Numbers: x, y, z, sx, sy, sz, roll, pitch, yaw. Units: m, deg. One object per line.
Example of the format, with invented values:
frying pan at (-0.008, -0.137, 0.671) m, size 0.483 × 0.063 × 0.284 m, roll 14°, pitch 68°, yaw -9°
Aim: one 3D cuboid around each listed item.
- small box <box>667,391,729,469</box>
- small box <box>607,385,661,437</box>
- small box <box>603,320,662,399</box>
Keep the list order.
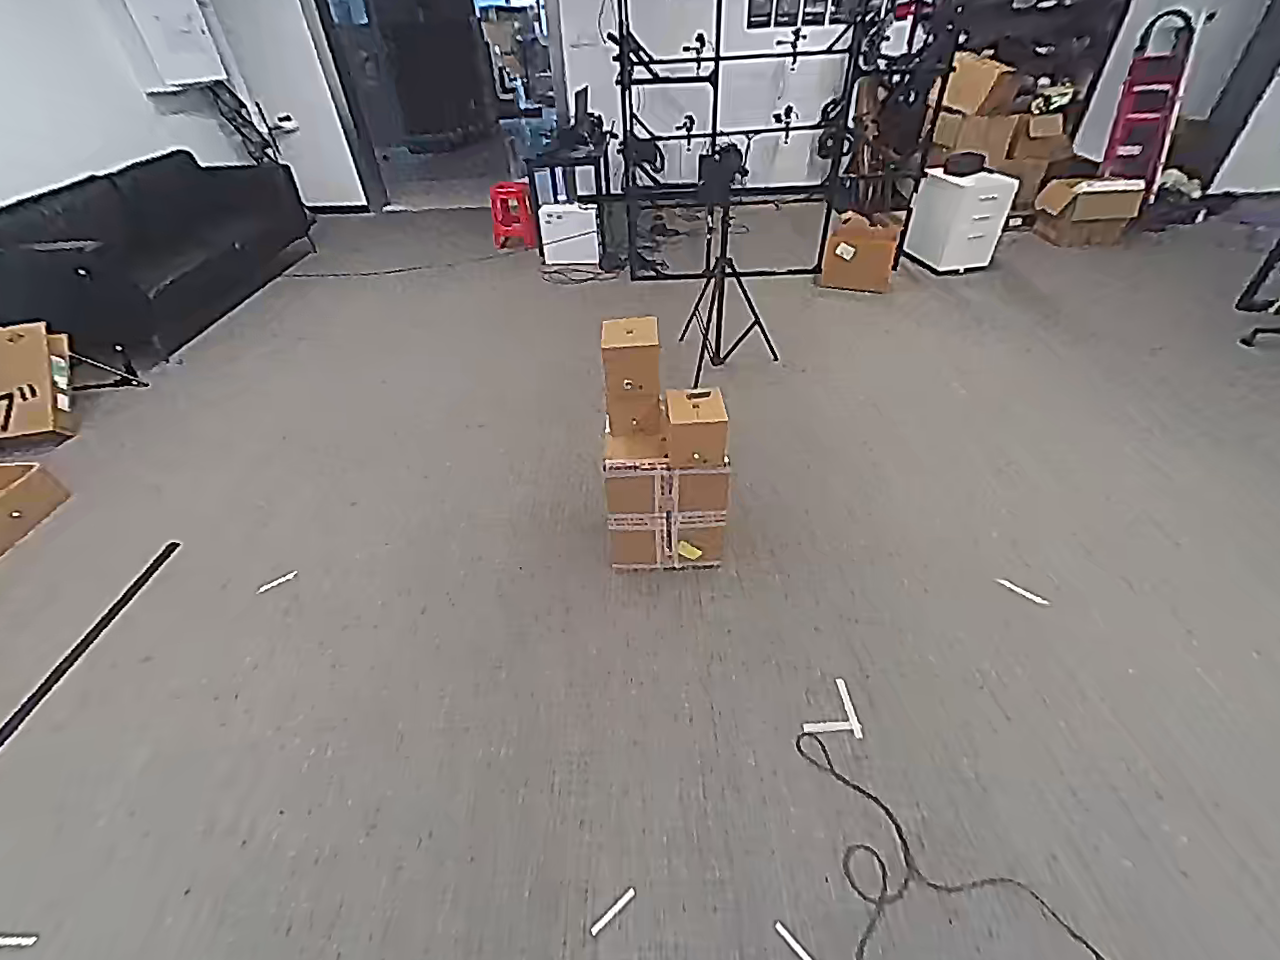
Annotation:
small box at (0.168, -0.151, 1.631) m, size 0.168 × 0.176 × 0.179 m, roll -3°, pitch 43°, yaw 0°
small box at (-0.018, -0.258, 1.763) m, size 0.168 × 0.176 × 0.179 m, roll -3°, pitch 43°, yaw 2°
small box at (-0.021, -0.365, 1.639) m, size 0.168 × 0.176 × 0.179 m, roll -4°, pitch 43°, yaw 2°
